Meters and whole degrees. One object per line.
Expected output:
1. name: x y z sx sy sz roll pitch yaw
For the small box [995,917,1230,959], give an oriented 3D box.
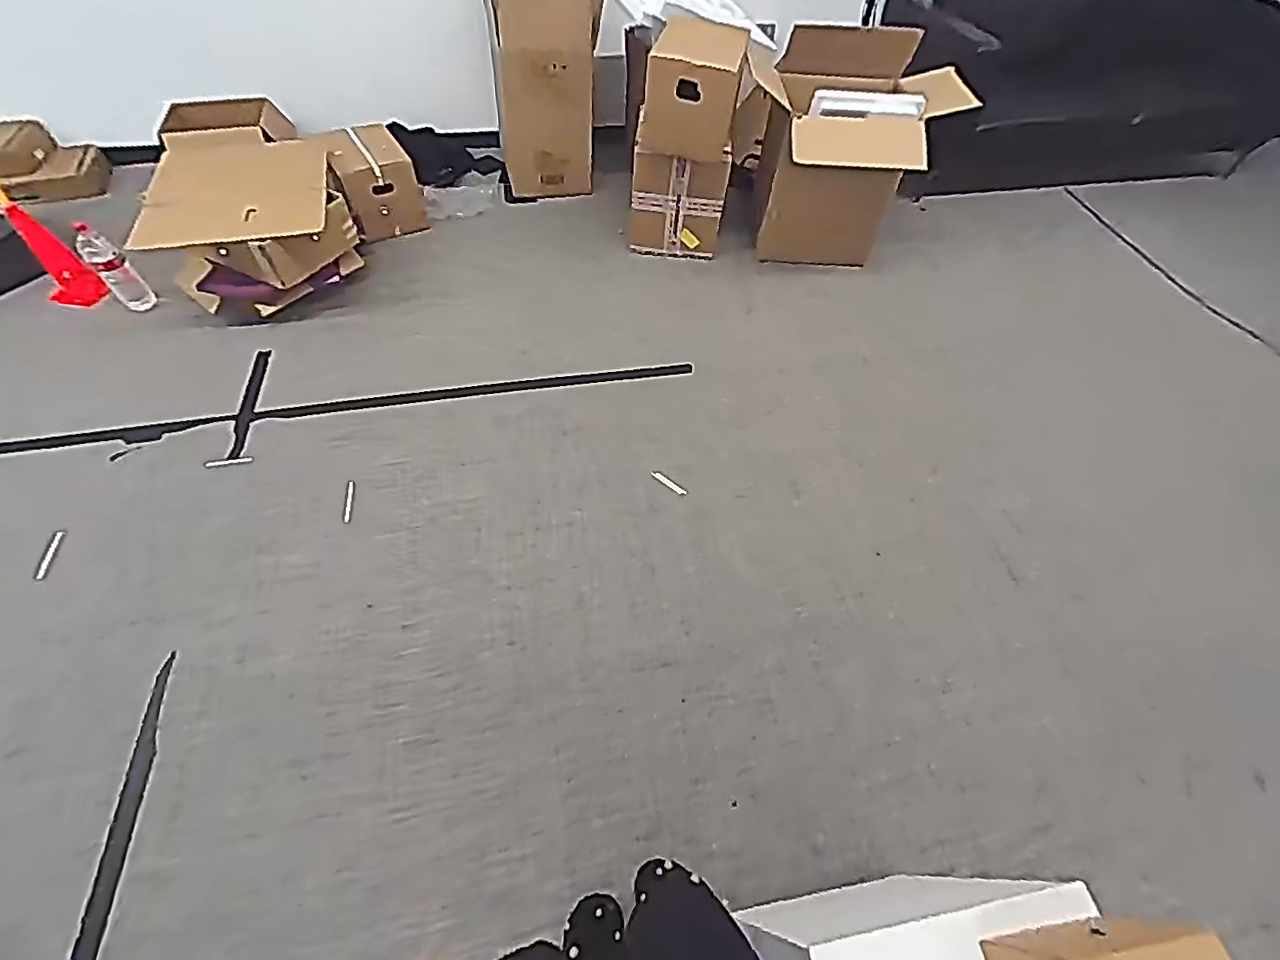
1. small box: 0.529 0.596 0.584 0.179 0.176 0.168 -5 56 -7
